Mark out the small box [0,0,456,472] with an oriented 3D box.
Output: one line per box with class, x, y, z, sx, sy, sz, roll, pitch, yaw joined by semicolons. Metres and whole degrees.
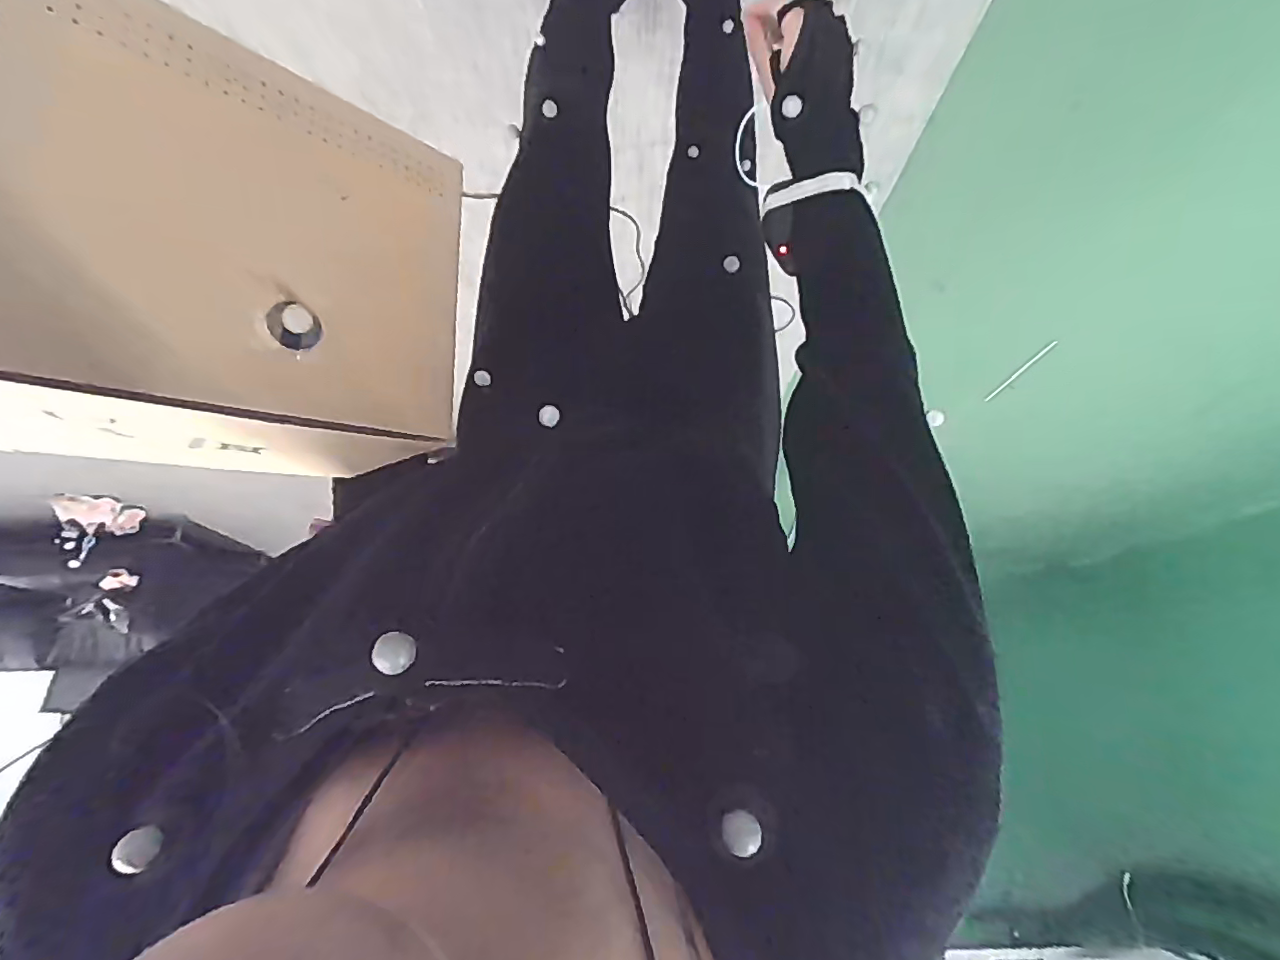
small box;-0.213;-0.104;0.285;0.168;0.176;0.179;-9;167;43
